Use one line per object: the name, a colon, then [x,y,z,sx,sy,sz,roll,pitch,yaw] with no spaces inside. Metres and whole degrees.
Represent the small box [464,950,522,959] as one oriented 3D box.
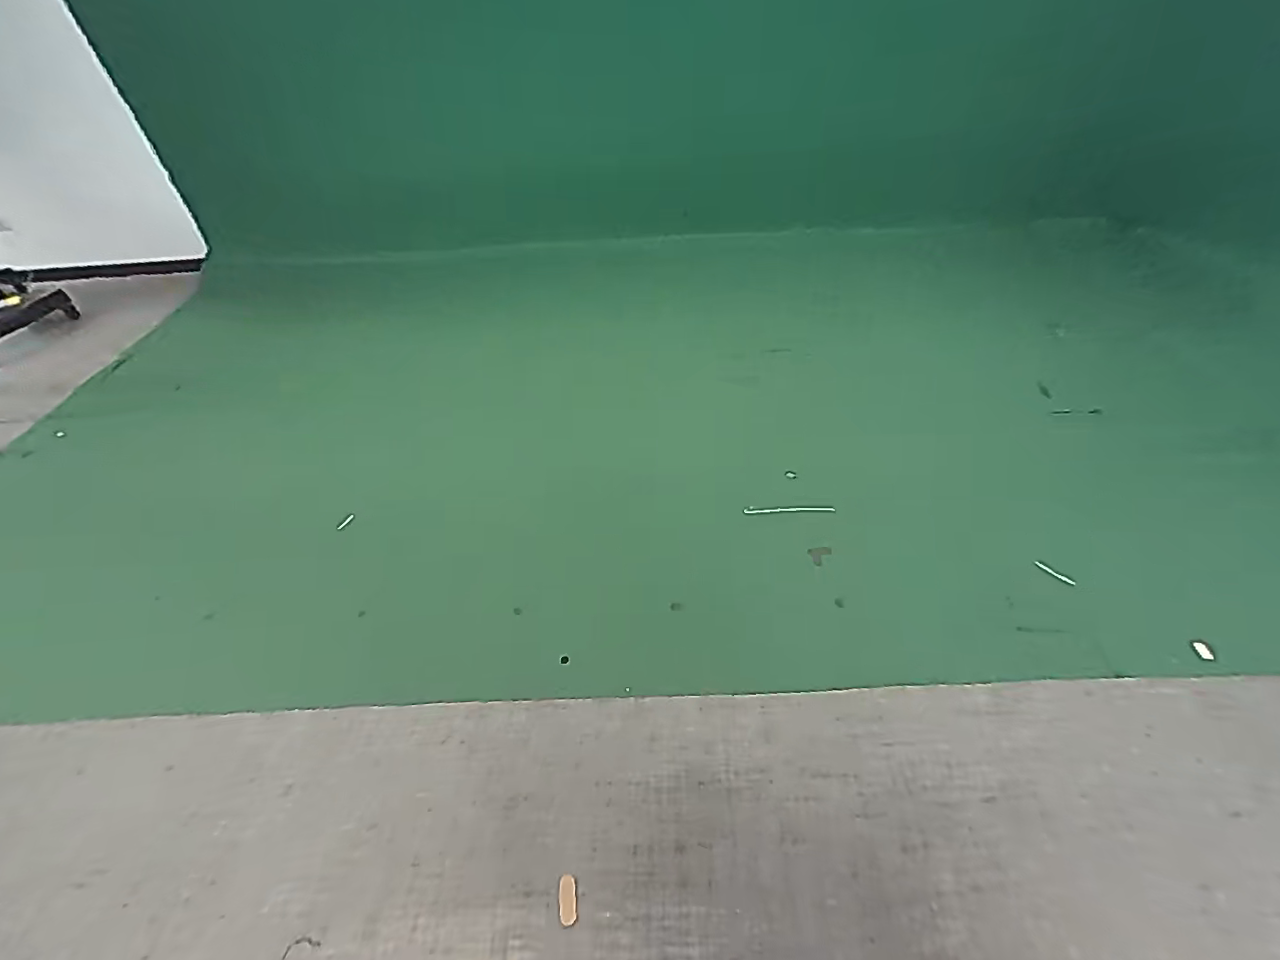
small box: [-0.227,0.696,0.615,0.168,0.179,0.176,-8,79,-2]
